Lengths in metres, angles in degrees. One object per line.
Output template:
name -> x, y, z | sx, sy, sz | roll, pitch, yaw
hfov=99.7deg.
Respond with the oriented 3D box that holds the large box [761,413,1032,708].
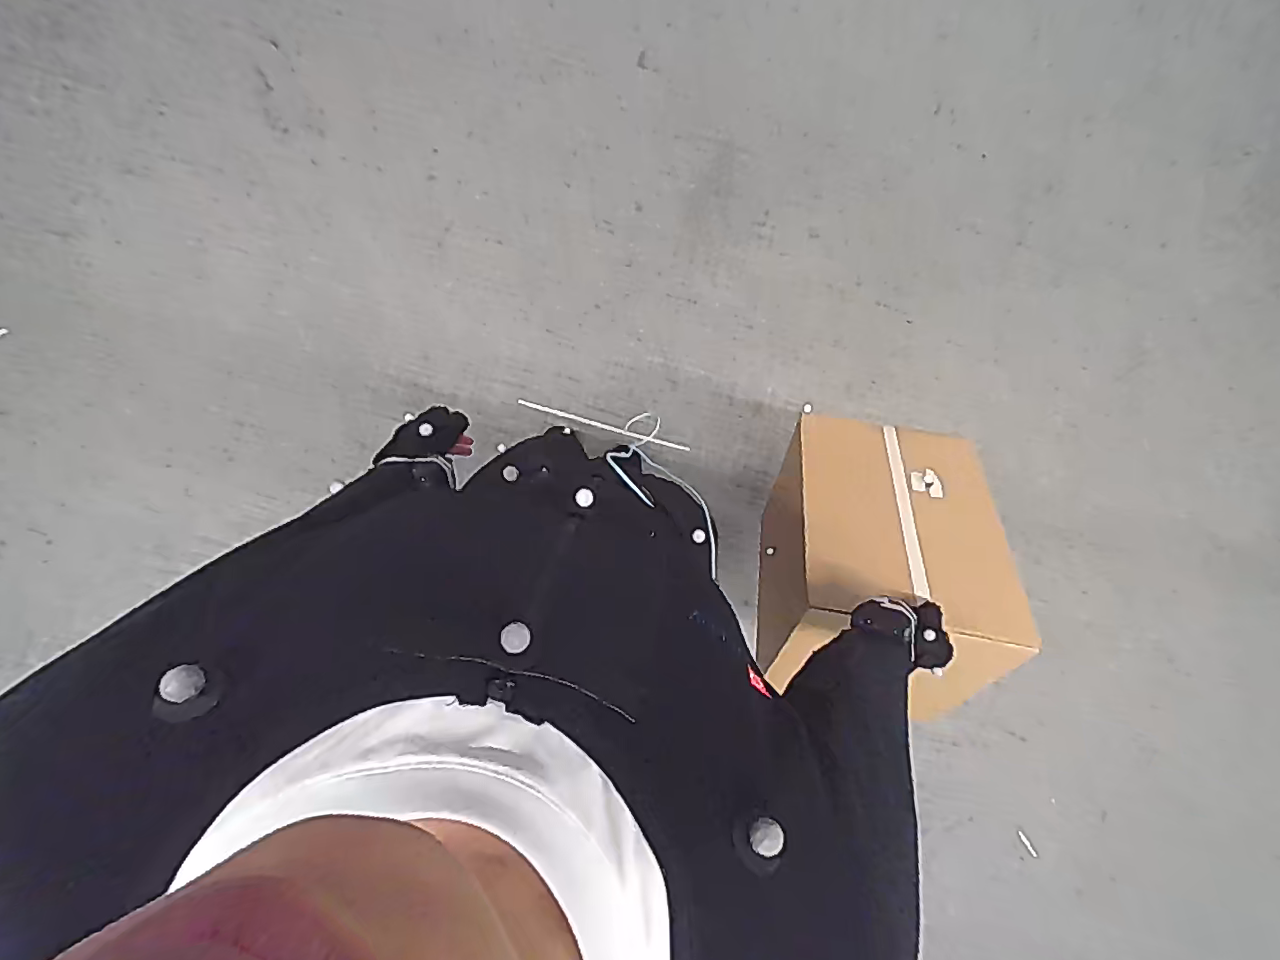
large box -> 0.405, 0.142, 0.979 | 0.320, 0.320, 0.408 | 11, 48, 3
